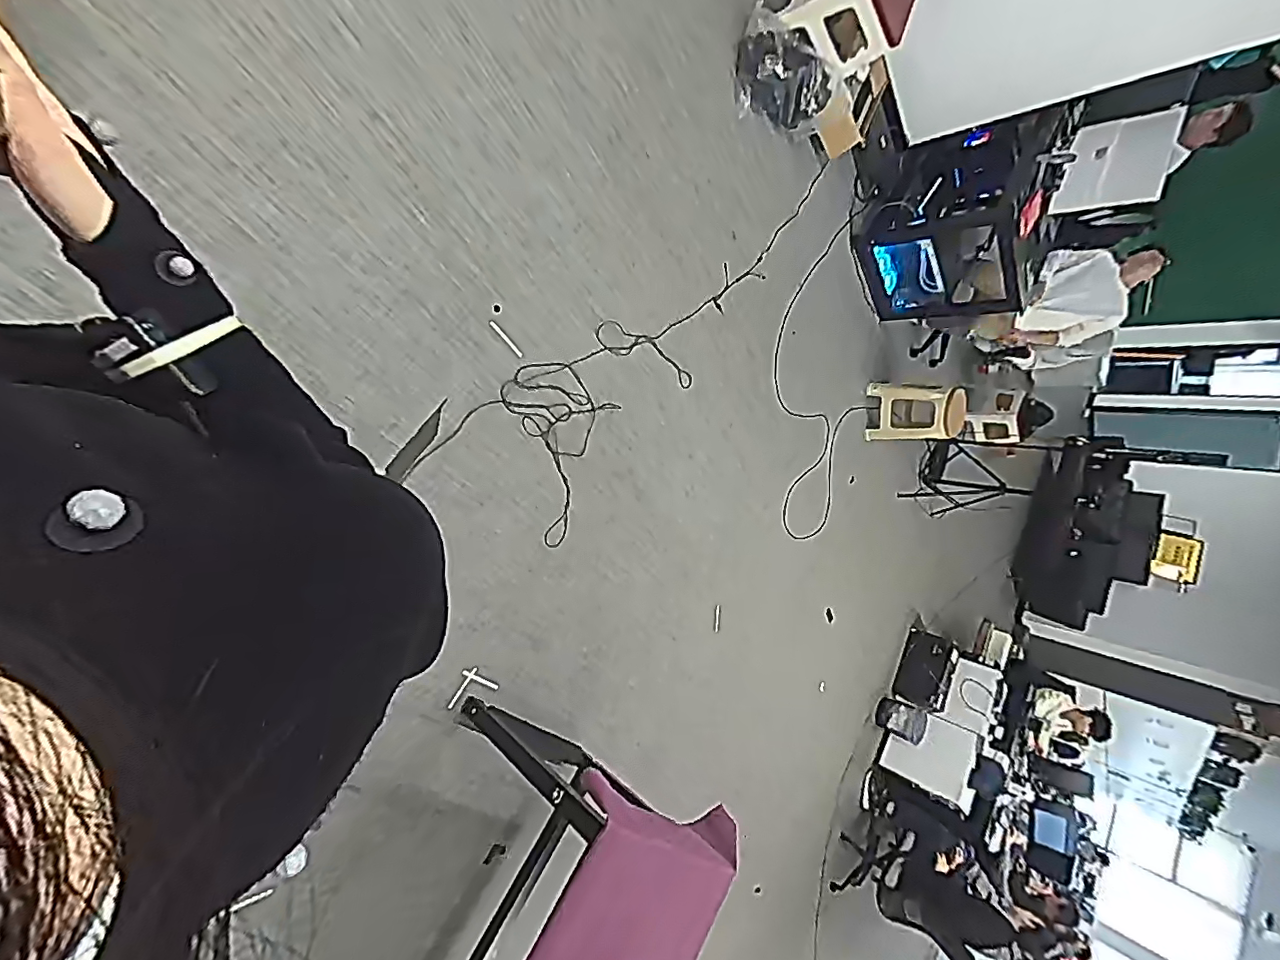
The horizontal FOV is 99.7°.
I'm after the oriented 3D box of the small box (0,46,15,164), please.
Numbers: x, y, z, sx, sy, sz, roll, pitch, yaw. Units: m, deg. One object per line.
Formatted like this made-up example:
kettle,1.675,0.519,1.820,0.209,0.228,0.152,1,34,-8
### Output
small box,-0.392,-0.222,0.198,0.179,0.176,0.168,-29,118,-42
